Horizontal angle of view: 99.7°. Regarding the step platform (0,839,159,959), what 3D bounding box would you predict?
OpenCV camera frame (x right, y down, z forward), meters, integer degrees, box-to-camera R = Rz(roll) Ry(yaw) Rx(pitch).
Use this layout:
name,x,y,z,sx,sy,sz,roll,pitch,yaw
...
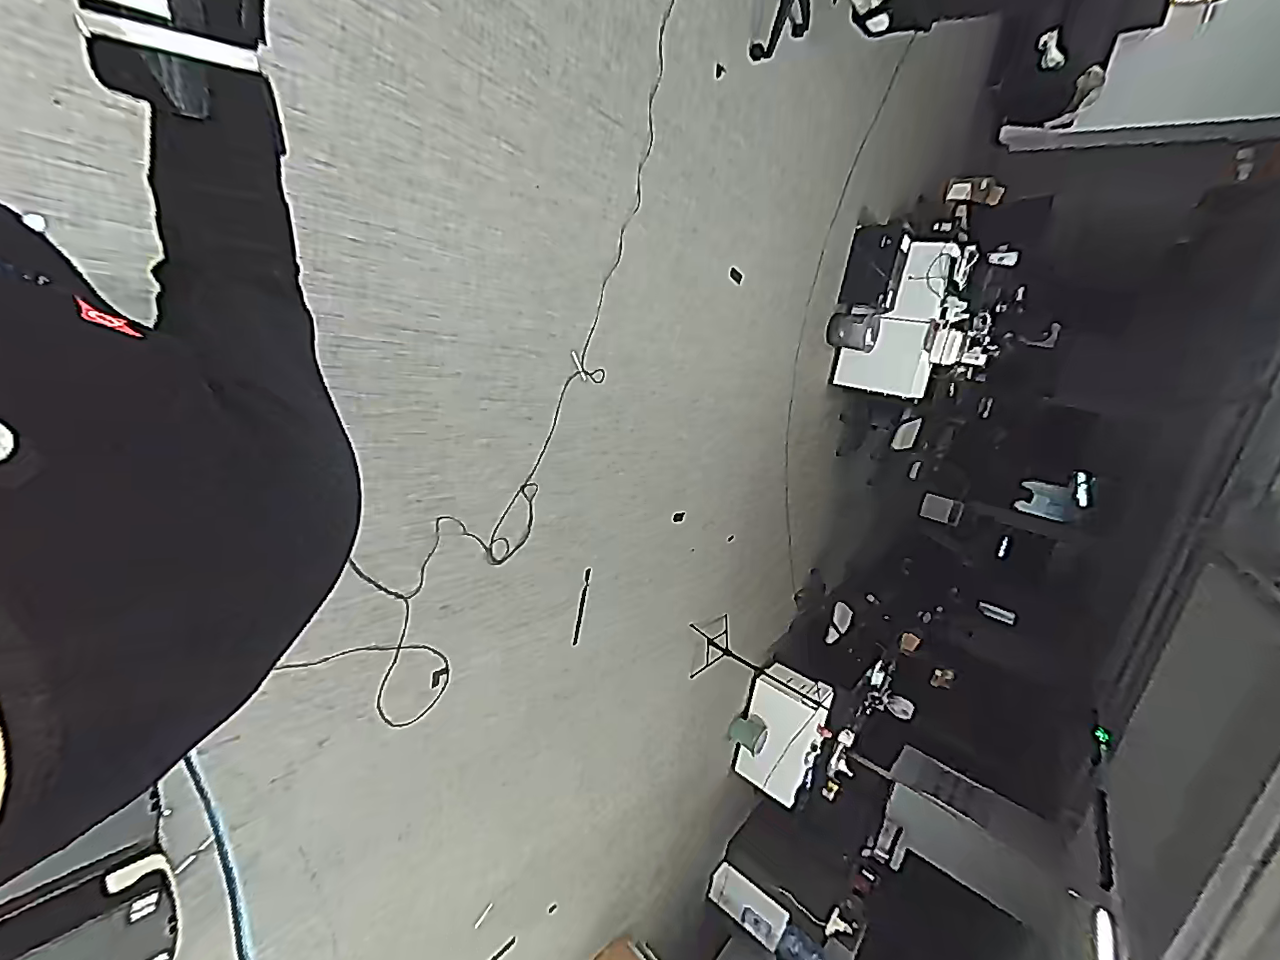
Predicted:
name,x,y,z,sx,sy,sz,roll,pitch,yaw
step platform,-1.431,1.084,1.095,0.684,0.204,0.286,-11,115,-49
